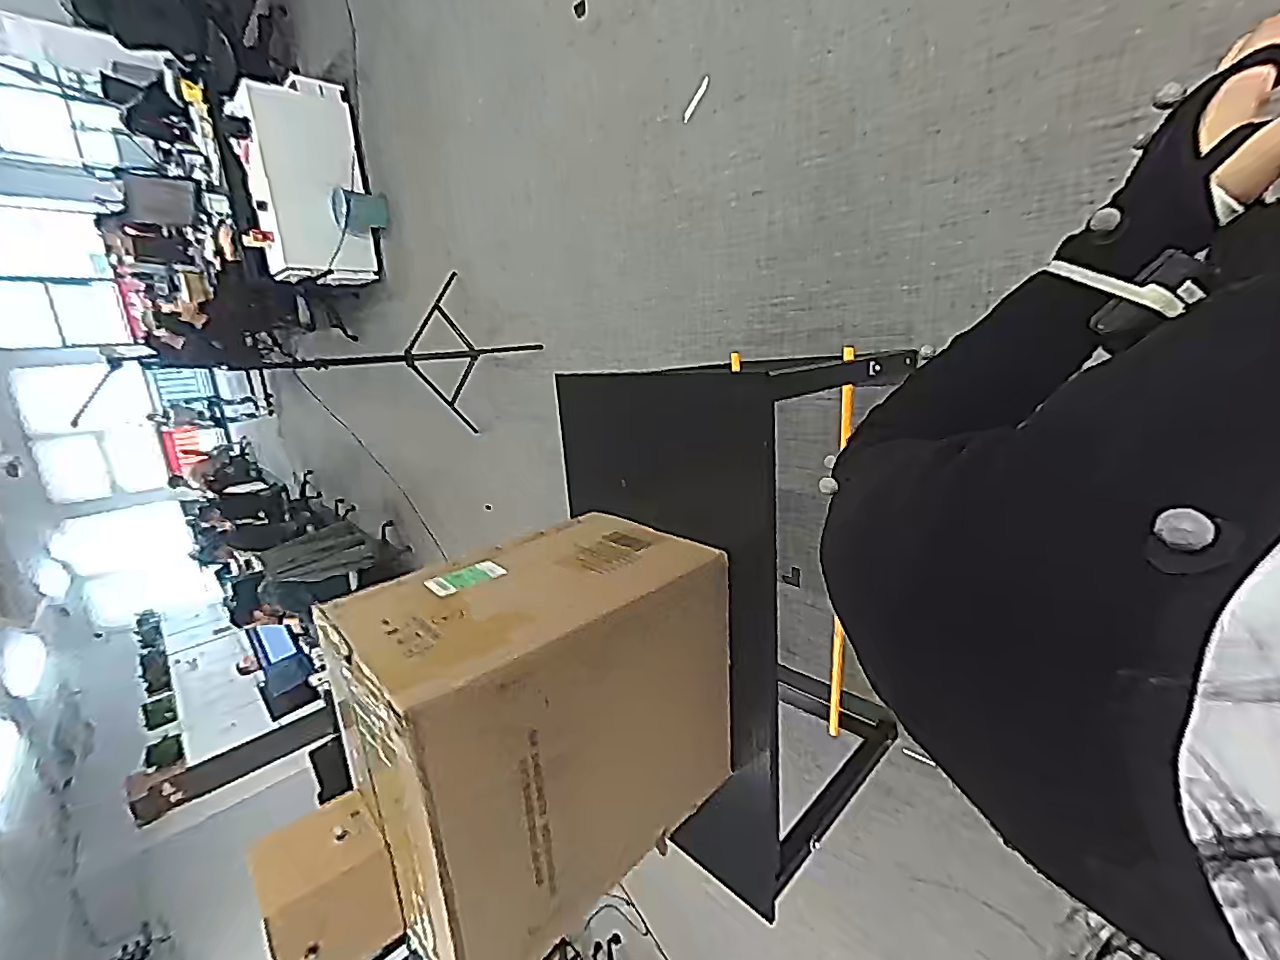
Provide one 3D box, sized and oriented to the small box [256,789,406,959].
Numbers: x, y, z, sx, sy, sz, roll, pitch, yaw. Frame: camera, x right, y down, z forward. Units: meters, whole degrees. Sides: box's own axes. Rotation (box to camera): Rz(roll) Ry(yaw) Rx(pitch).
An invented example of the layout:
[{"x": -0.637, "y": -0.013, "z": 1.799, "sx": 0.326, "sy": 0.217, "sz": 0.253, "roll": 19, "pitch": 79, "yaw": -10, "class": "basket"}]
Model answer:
[{"x": -0.493, "y": 0.654, "z": 0.873, "sx": 0.168, "sy": 0.176, "sz": 0.179, "roll": 13, "pitch": 110, "yaw": 47, "class": "small box"}]
